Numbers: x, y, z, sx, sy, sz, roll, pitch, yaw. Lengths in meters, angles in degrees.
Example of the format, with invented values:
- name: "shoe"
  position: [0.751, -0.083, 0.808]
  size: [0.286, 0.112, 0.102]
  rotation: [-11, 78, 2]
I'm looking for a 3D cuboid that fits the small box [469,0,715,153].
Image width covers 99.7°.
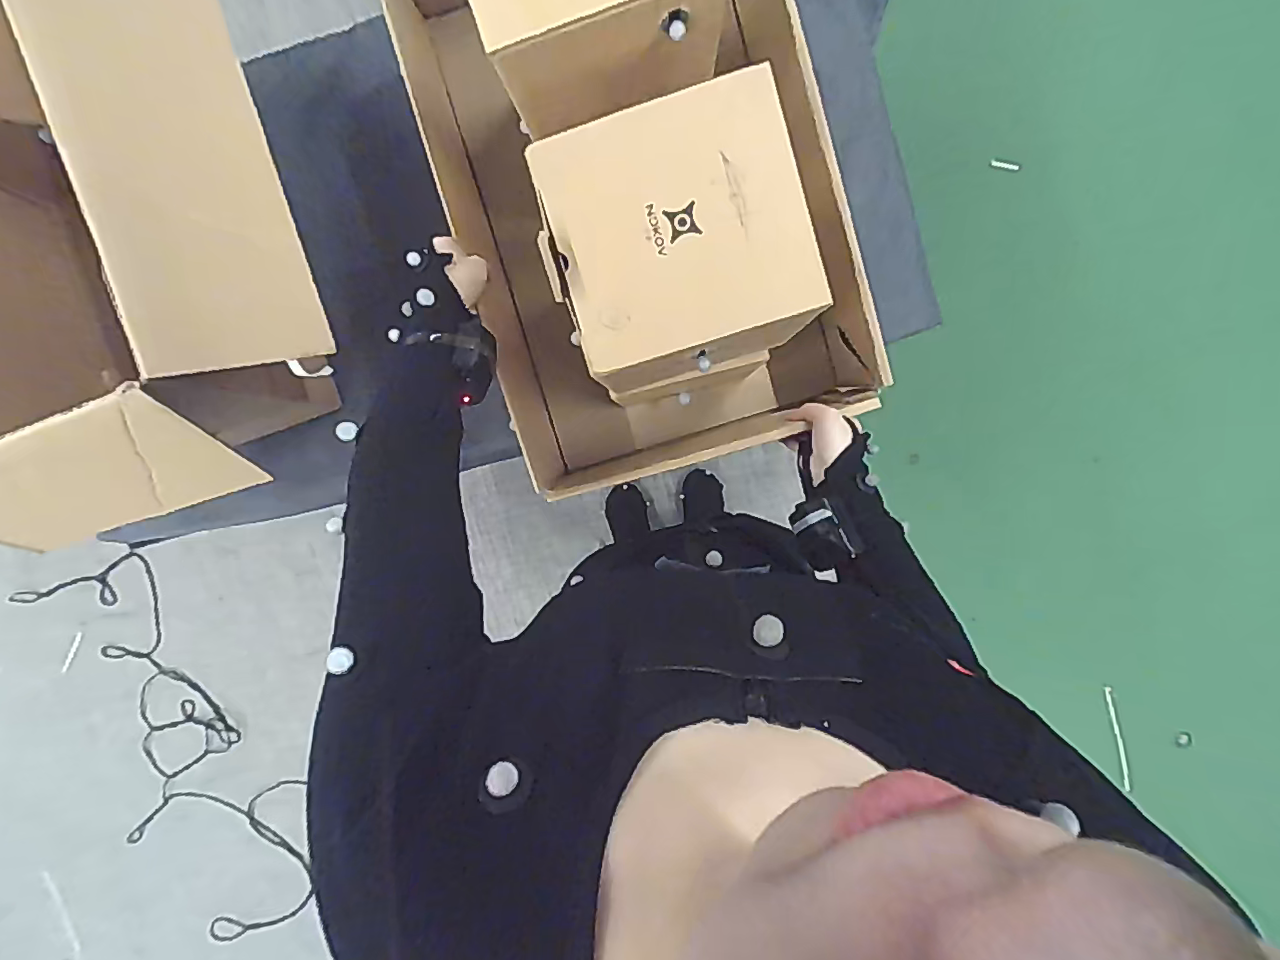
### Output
- name: "small box"
  position: [-0.042, -0.399, 0.436]
  size: [0.179, 0.176, 0.168]
  rotation: [-18, 96, 4]

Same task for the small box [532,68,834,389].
- name: "small box"
  position: [0.035, -0.181, 0.453]
  size: [0.179, 0.176, 0.168]
  rotation: [-18, 95, 5]
